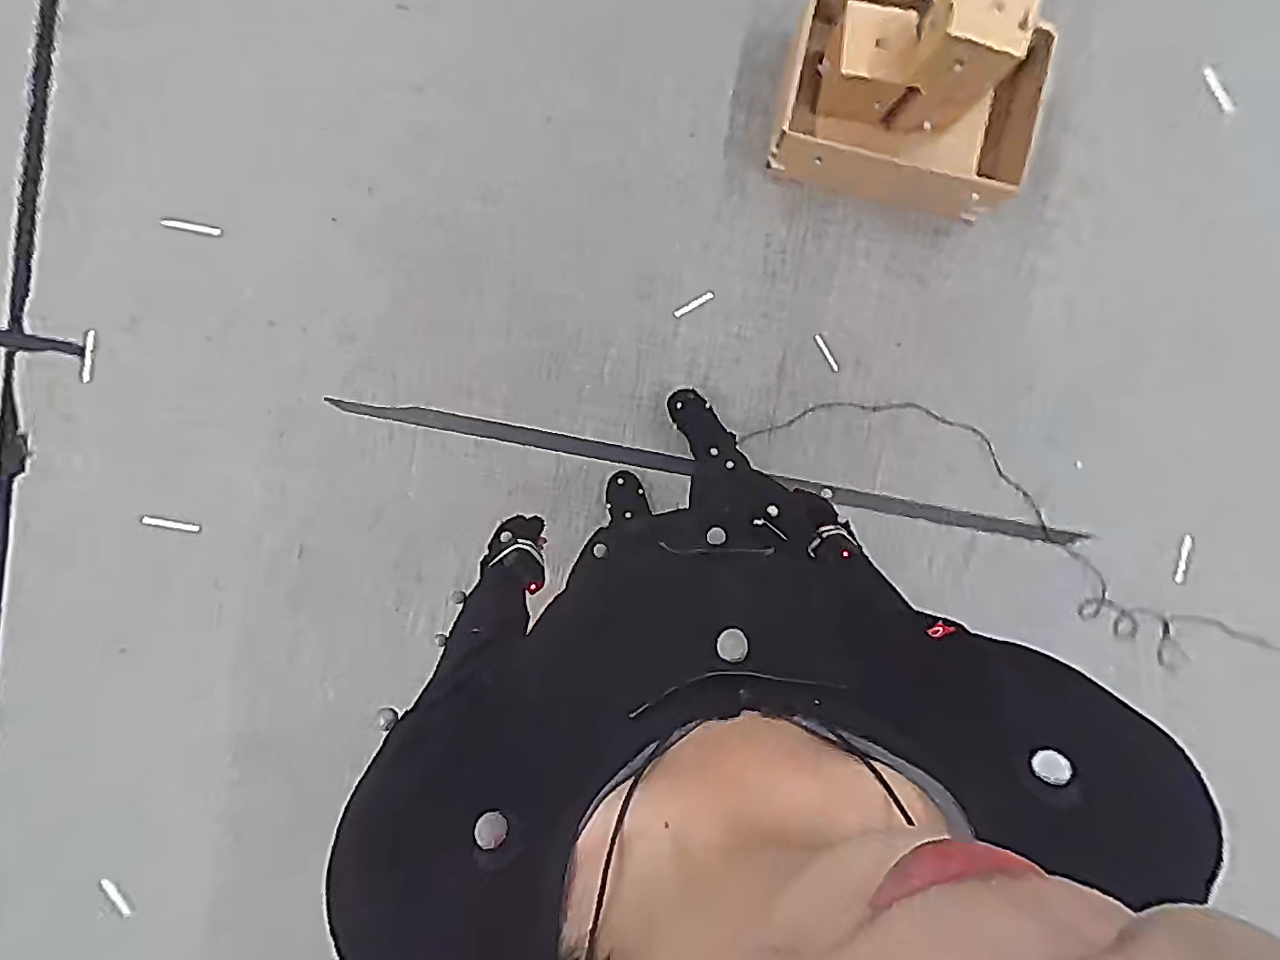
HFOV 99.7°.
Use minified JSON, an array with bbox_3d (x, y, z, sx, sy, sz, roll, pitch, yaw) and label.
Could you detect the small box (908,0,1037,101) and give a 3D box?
[{"bbox_3d":[0.732,-0.989,1.201,0.179,0.176,0.168,15,94,-1],"label":"small box"}]
